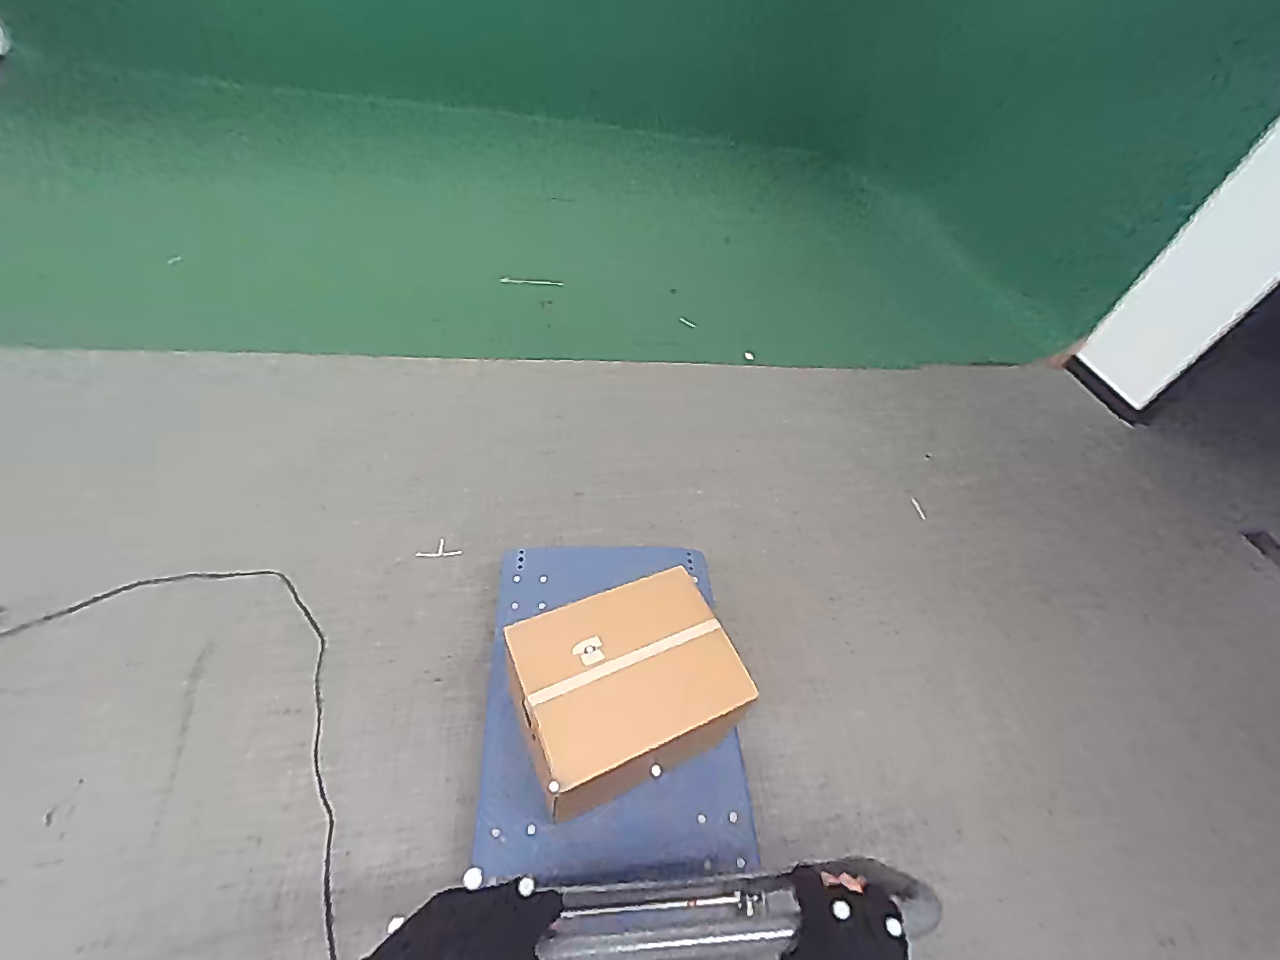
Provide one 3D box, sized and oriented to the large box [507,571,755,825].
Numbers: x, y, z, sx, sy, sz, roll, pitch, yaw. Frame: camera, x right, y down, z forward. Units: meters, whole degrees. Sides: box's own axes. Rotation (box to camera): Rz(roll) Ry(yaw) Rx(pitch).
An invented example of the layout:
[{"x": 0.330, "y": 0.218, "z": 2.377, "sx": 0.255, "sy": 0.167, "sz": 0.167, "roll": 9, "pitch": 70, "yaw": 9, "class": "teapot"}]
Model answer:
[{"x": -0.036, "y": 0.455, "z": 1.147, "sx": 0.408, "sy": 0.320, "sz": 0.320, "roll": -16, "pitch": 53, "yaw": -22, "class": "large box"}]
